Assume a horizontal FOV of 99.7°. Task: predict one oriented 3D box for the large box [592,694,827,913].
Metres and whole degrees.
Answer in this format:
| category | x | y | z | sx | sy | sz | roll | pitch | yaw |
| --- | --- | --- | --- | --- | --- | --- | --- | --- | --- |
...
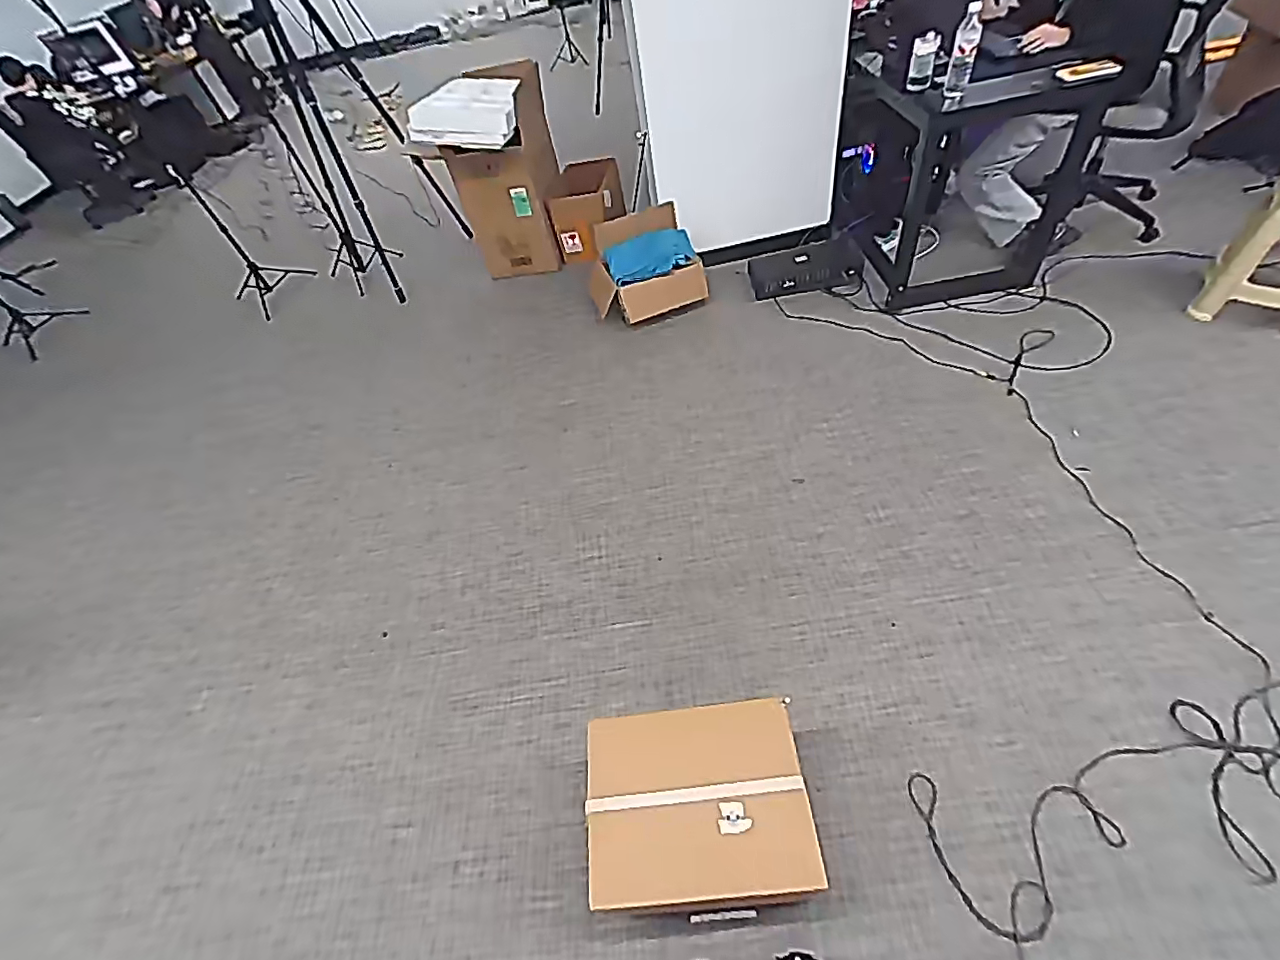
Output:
| category | x | y | z | sx | sy | sz | roll | pitch | yaw |
| --- | --- | --- | --- | --- | --- | --- | --- | --- | --- |
| large box | 0.128 | 0.675 | 1.118 | 0.408 | 0.320 | 0.320 | -9 | 50 | 4 |
